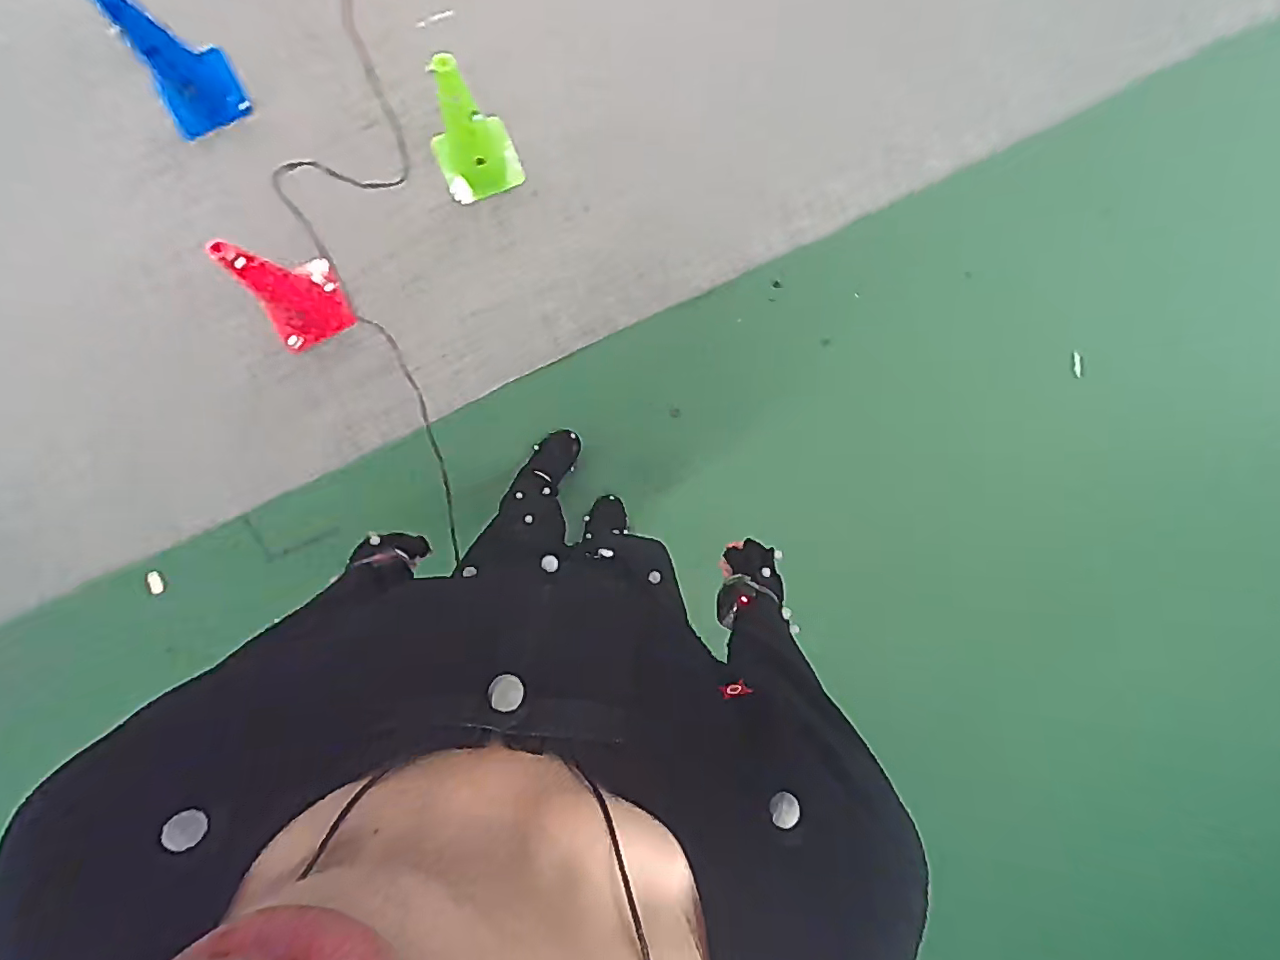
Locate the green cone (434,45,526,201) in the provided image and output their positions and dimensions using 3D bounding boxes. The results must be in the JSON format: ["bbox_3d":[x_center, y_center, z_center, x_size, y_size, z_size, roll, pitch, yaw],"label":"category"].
[{"bbox_3d":[-0.423,-0.891,1.319,0.200,0.368,0.202,-24,91,-5],"label":"green cone"}]
